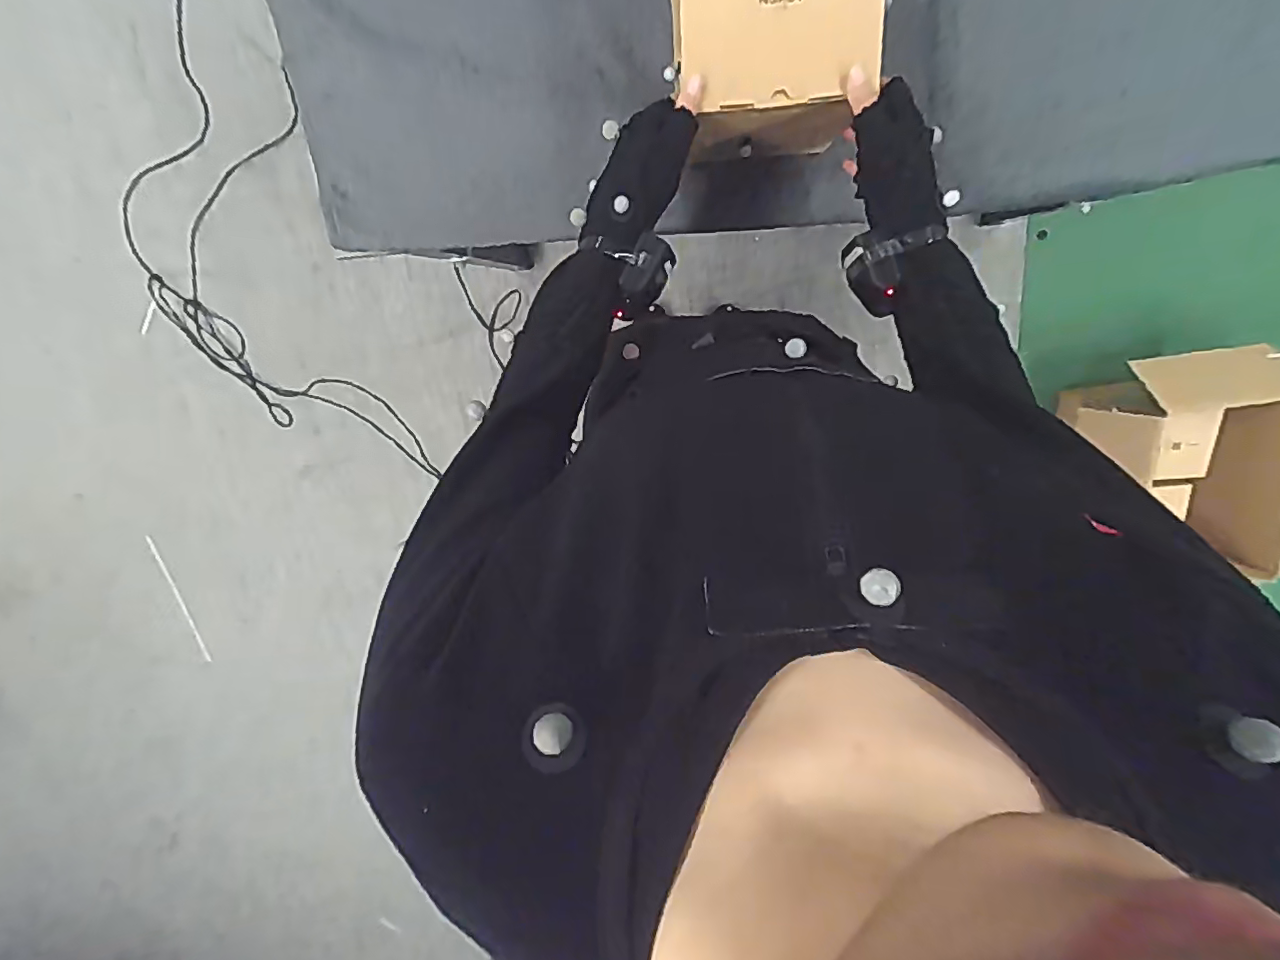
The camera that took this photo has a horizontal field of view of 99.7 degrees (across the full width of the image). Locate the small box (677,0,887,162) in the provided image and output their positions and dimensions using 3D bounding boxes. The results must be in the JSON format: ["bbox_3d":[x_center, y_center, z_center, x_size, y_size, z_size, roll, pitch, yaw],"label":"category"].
[{"bbox_3d":[0.122,-0.426,0.513,0.168,0.176,0.179,-3,108,4],"label":"small box"}]
